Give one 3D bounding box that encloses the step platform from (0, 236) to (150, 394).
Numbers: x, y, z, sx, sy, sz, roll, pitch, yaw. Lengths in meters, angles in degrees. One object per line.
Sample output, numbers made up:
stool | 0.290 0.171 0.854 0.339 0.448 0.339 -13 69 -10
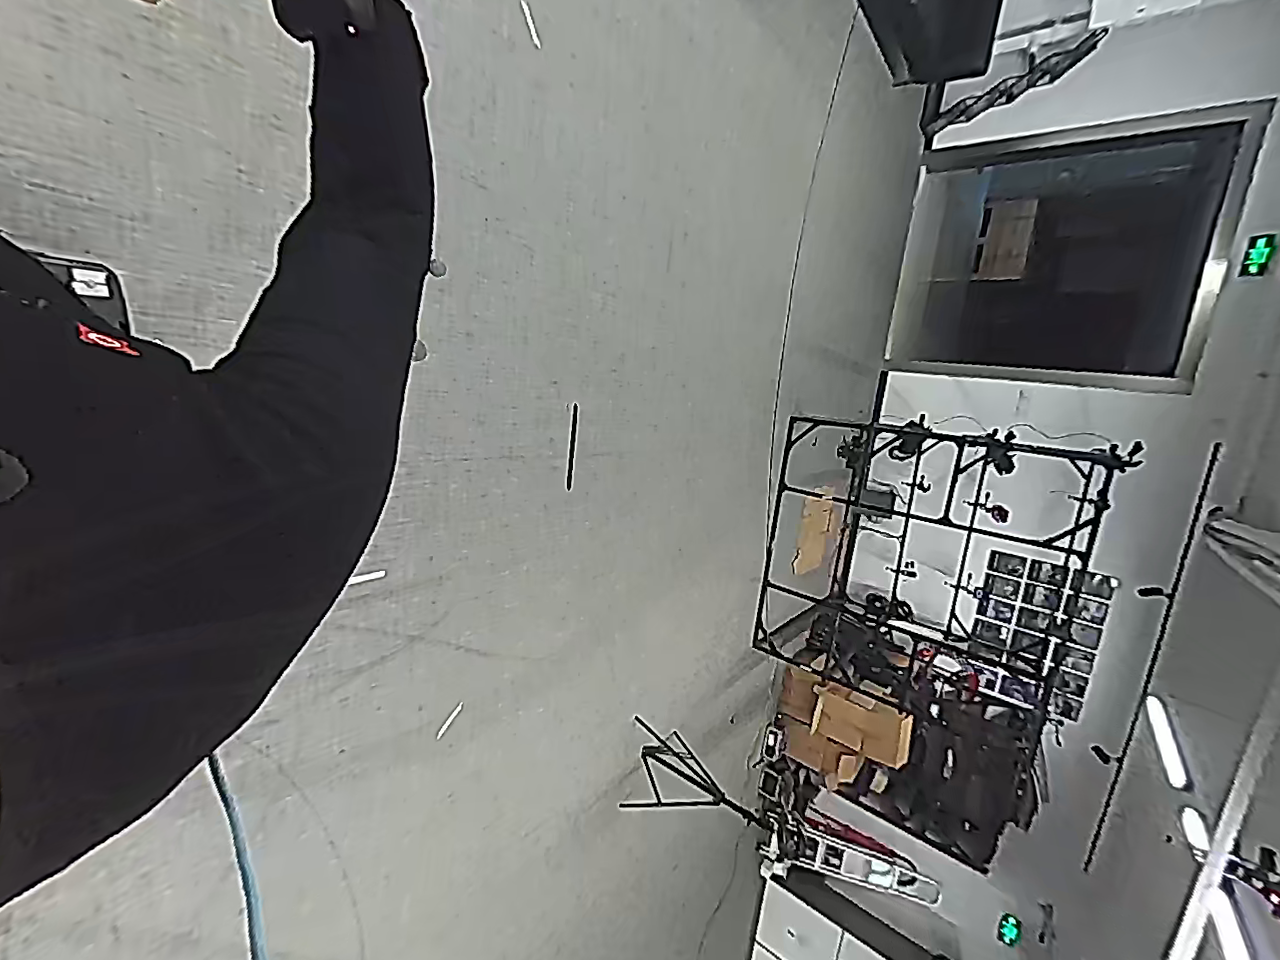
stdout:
step platform | -1.292 -0.301 0.917 0.684 0.204 0.286 -10 110 -53
